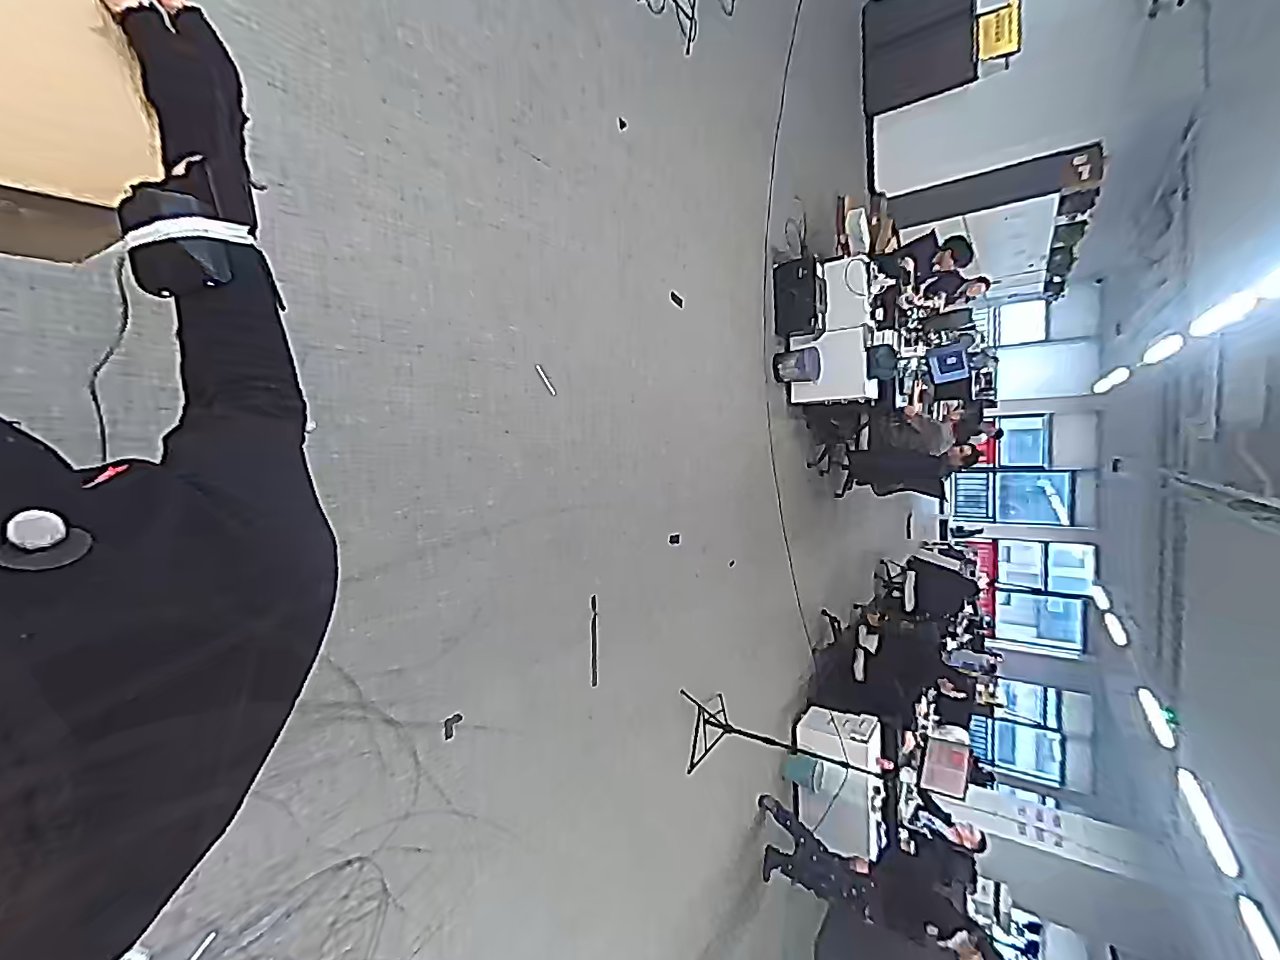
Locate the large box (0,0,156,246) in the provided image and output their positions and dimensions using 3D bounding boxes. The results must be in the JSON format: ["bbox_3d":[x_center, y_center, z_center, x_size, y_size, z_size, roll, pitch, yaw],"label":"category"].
[{"bbox_3d":[-0.606,-0.355,0.314,0.408,0.320,0.320,-11,108,-54],"label":"large box"}]
